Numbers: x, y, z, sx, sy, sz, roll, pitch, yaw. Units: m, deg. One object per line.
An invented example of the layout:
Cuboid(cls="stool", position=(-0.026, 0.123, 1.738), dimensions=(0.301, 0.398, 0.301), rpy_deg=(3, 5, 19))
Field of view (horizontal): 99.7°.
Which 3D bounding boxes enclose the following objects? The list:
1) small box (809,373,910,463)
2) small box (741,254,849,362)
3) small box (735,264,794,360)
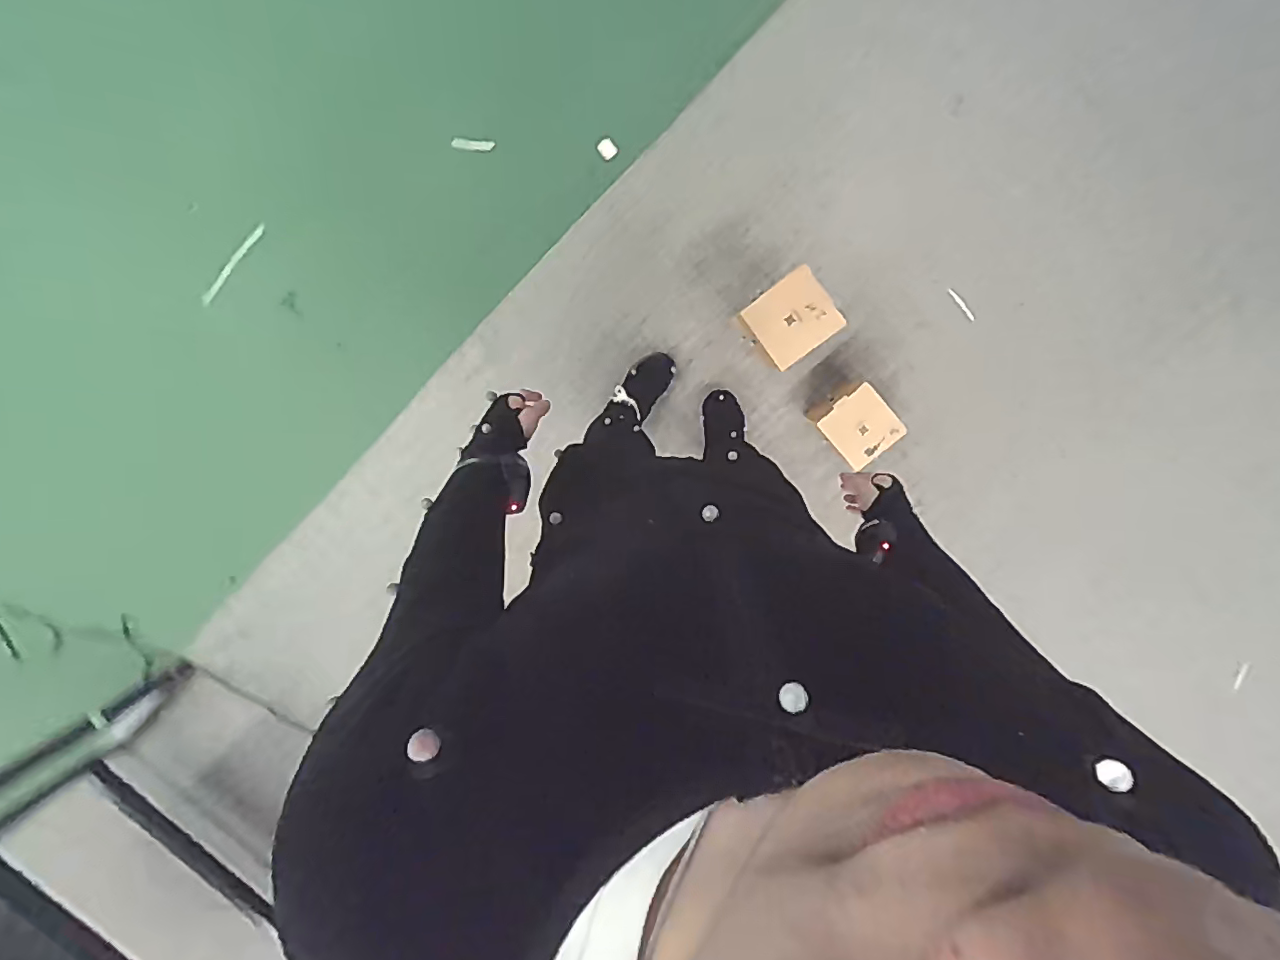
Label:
Cuboid(cls="small box", position=(0.582, -0.171, 1.464), dimensions=(0.168, 0.176, 0.179), rpy_deg=(-40, 95, 14))
Cuboid(cls="small box", position=(0.351, -0.393, 1.266), dimensions=(0.179, 0.176, 0.168), rpy_deg=(-35, 98, 12))
Cuboid(cls="small box", position=(0.365, -0.434, 1.425), dimensions=(0.179, 0.176, 0.168), rpy_deg=(-37, 97, 12))
